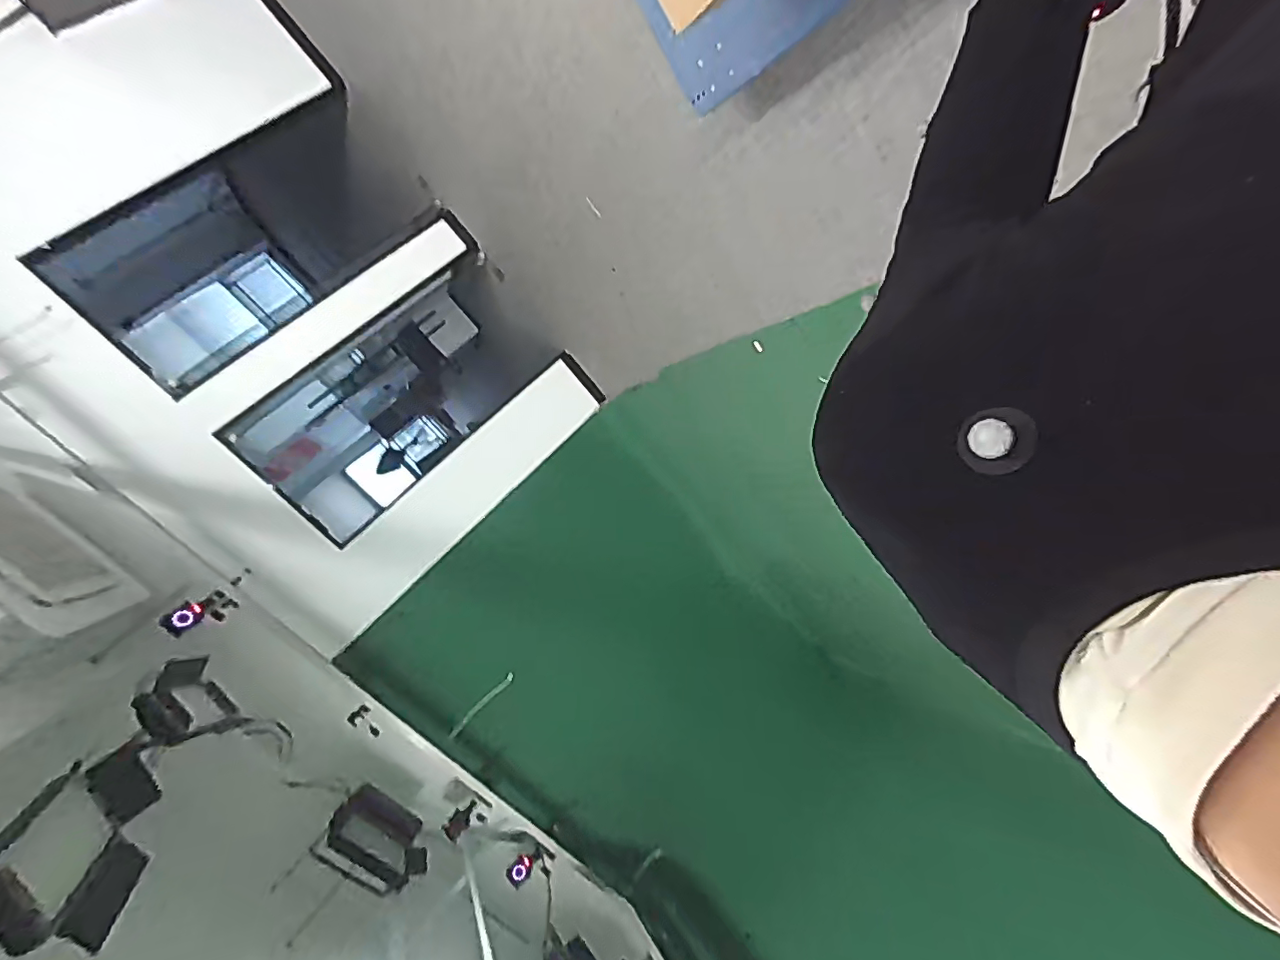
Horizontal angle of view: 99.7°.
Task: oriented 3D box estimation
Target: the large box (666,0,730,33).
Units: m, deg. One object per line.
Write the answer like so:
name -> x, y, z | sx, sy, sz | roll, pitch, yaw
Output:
large box -> 0.207, -1.148, 0.971 | 0.320, 0.320, 0.408 | 53, 160, -25
